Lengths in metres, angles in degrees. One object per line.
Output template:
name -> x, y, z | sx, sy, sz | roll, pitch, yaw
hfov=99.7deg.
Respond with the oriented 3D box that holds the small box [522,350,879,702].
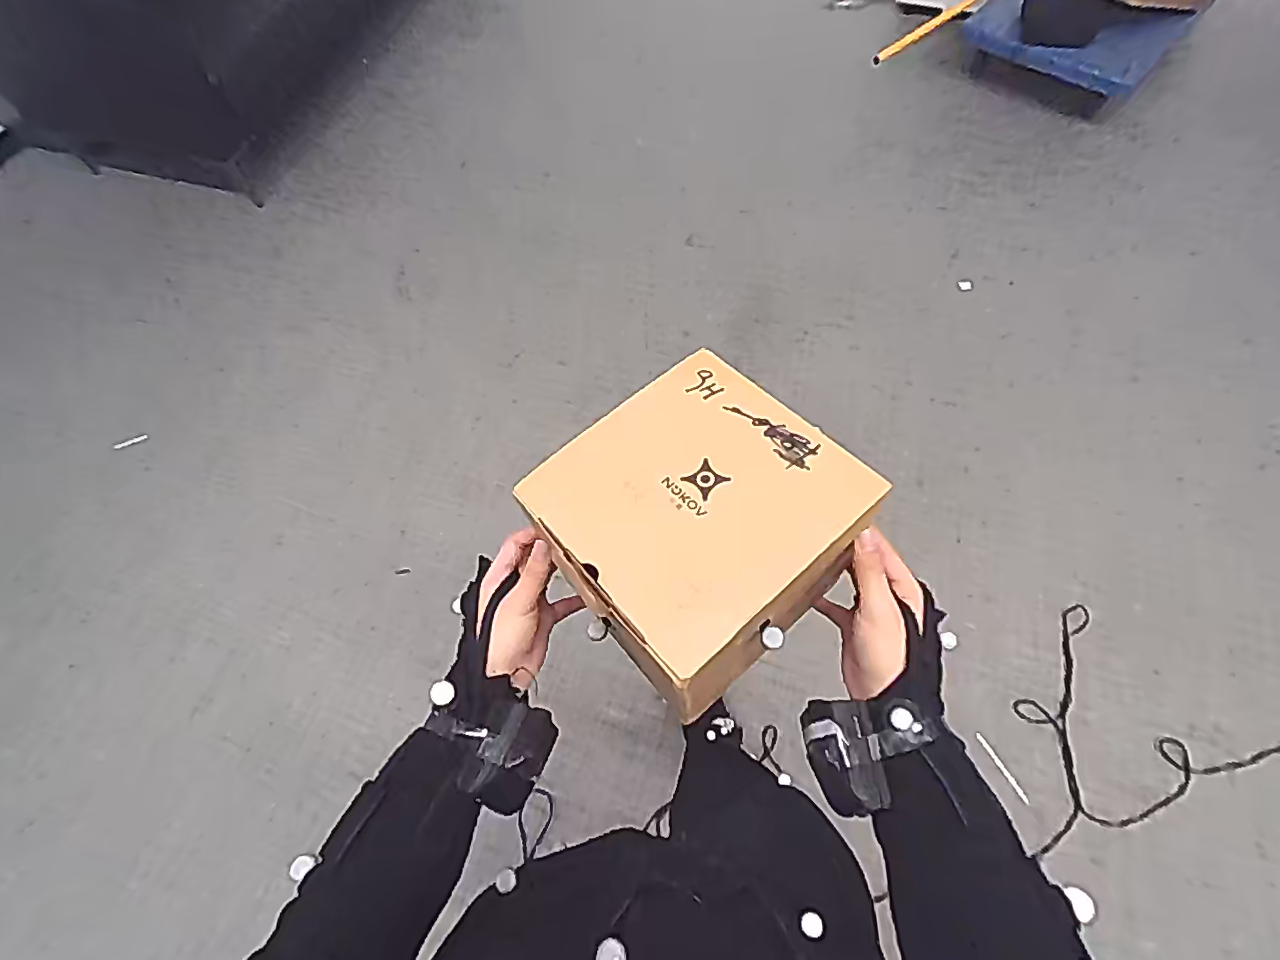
small box -> 0.045, 0.043, 0.417 | 0.179, 0.176, 0.168 | -39, 63, -15
